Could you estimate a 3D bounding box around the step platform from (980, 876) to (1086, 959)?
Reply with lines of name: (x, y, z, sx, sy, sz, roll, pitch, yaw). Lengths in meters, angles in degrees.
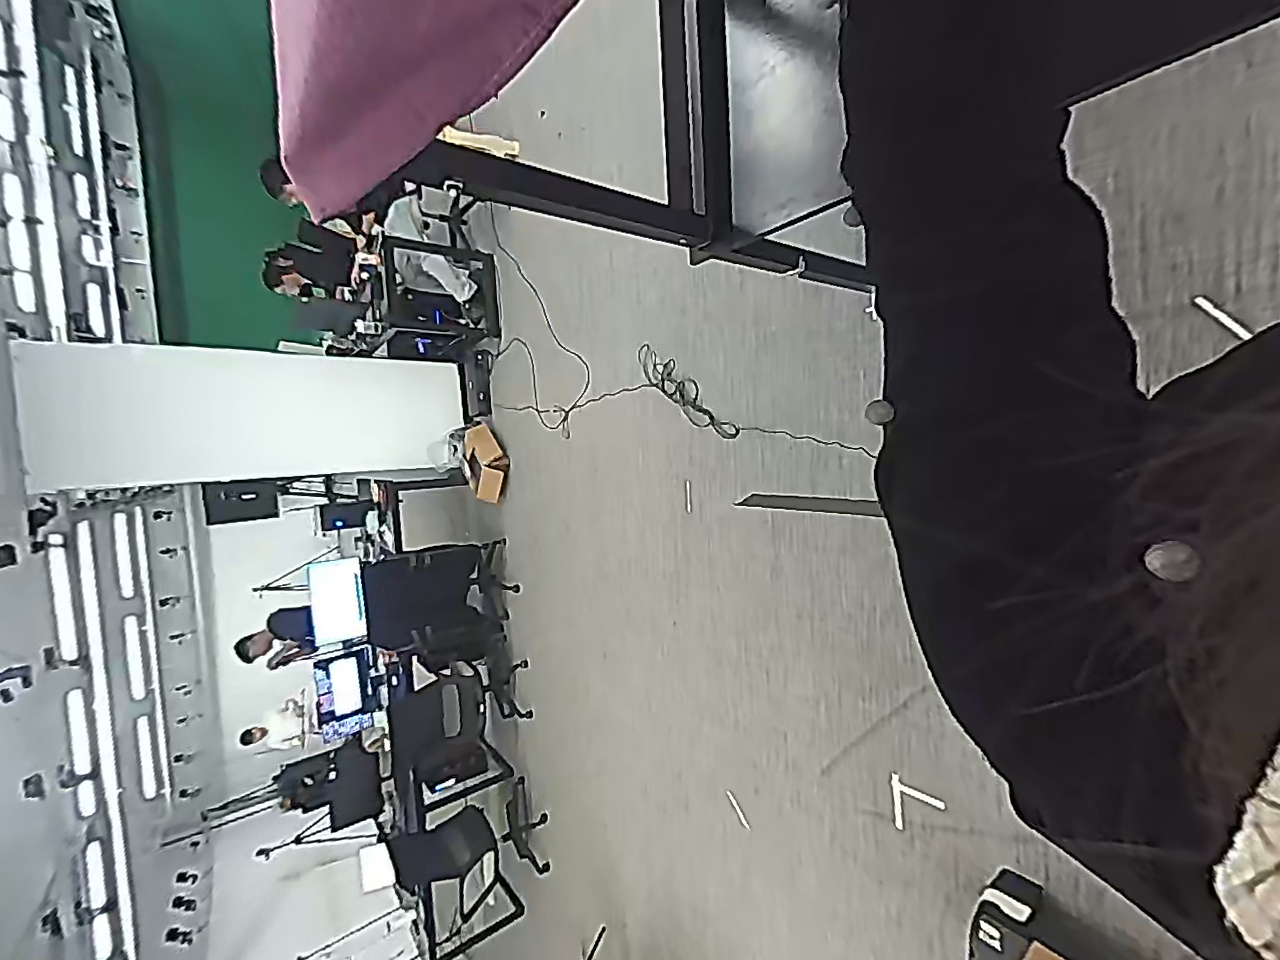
step platform: (1.095, 1.195, 1.107, 0.684, 0.204, 0.286, 11, 103, 52)
